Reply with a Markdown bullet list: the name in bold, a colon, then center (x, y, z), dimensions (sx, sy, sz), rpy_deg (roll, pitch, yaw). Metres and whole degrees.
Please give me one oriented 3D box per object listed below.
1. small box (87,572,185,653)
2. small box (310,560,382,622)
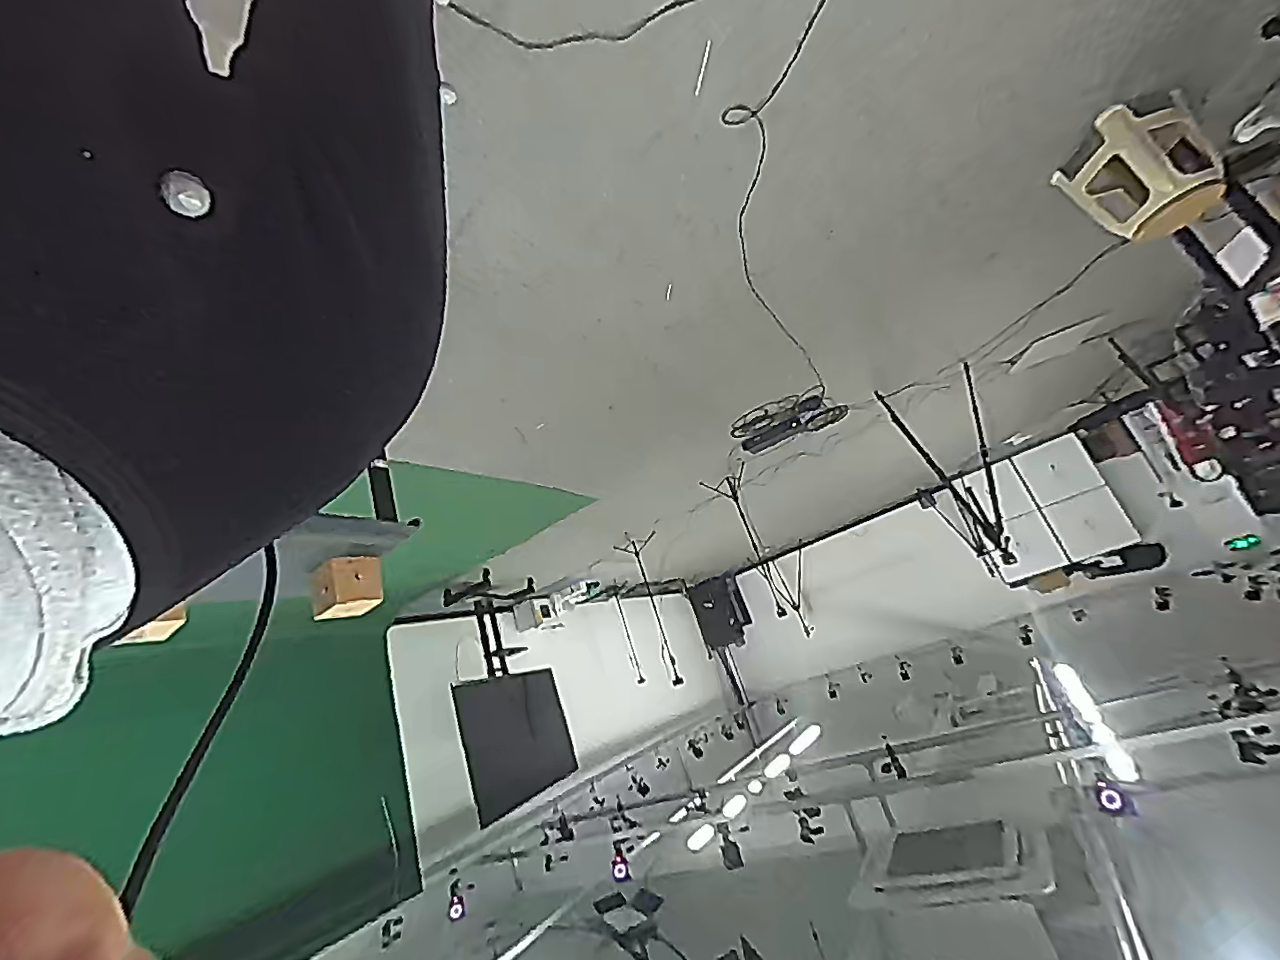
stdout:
- **small box**: center (-1.414, 0.366, 1.519), dimensions (0.179, 0.176, 0.168), rpy_deg (-32, 158, 27)
- **small box**: center (-1.062, 0.394, 1.943), dimensions (0.179, 0.176, 0.168), rpy_deg (-32, 157, 29)
